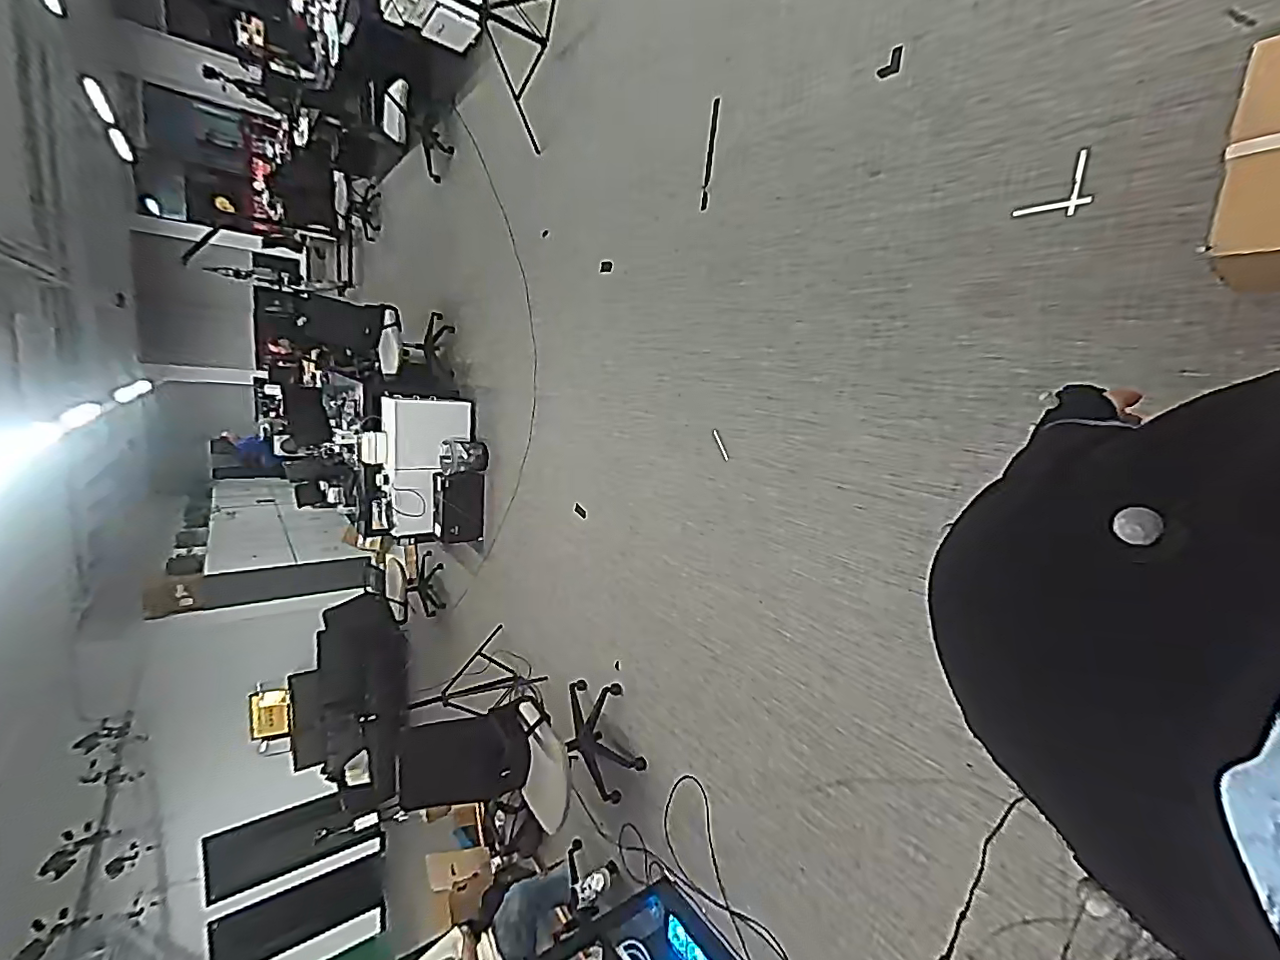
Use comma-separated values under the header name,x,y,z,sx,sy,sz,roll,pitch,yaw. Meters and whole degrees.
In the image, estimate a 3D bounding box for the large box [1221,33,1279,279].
name,x,y,z,sx,sy,sz,roll,pitch,yaw
large box,1.165,-0.487,0.758,0.408,0.320,0.320,17,105,53
